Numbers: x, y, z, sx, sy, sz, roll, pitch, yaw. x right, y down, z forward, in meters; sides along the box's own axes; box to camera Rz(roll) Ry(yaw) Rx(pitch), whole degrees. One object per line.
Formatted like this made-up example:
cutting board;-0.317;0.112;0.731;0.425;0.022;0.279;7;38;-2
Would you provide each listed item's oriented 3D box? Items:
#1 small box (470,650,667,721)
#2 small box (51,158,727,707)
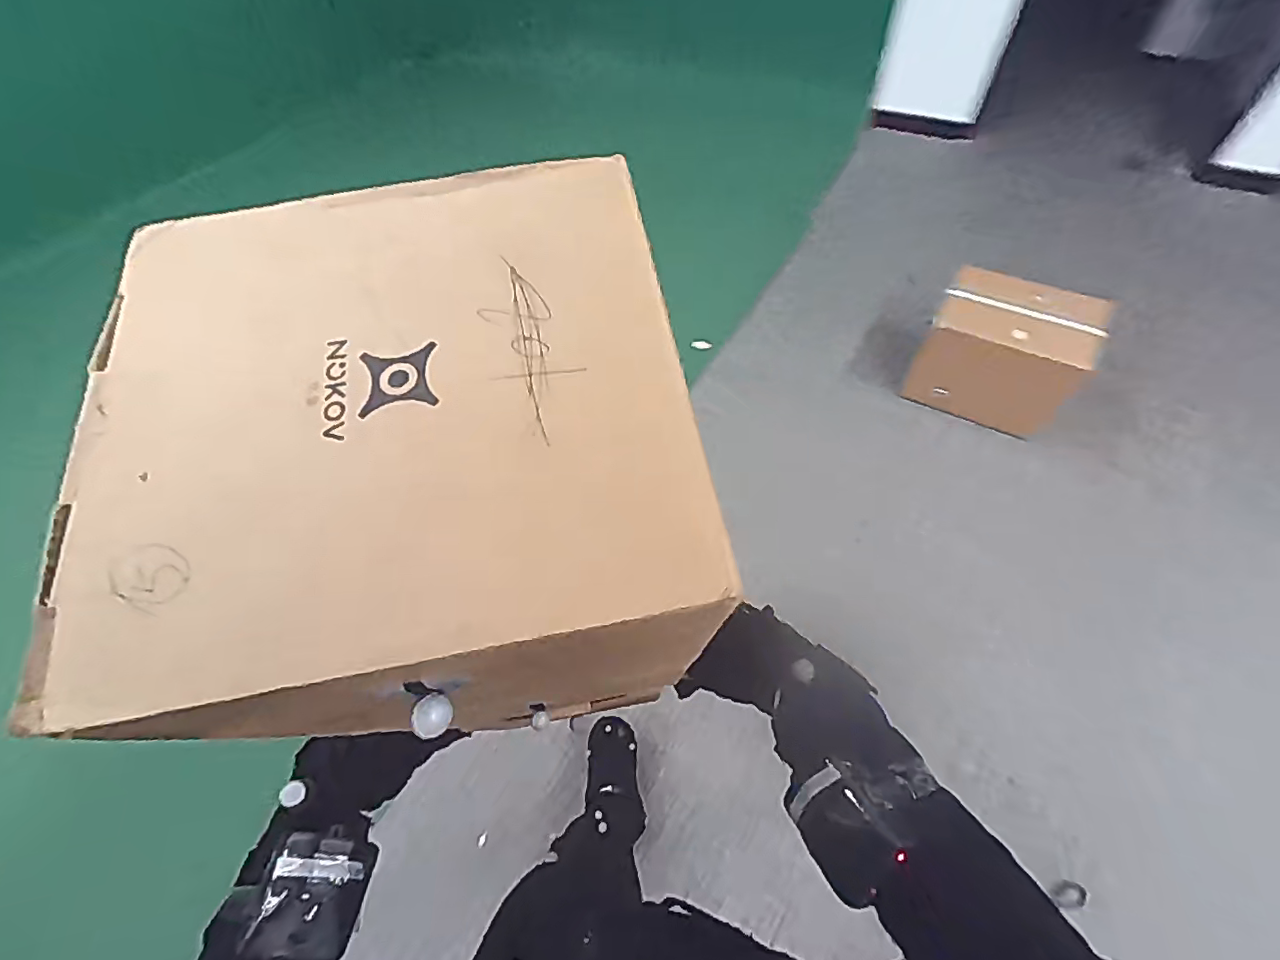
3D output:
small box;-0.067;0.130;0.541;0.168;0.176;0.179;-11;67;-2
small box;-0.072;0.000;0.241;0.179;0.176;0.168;-11;67;-3
